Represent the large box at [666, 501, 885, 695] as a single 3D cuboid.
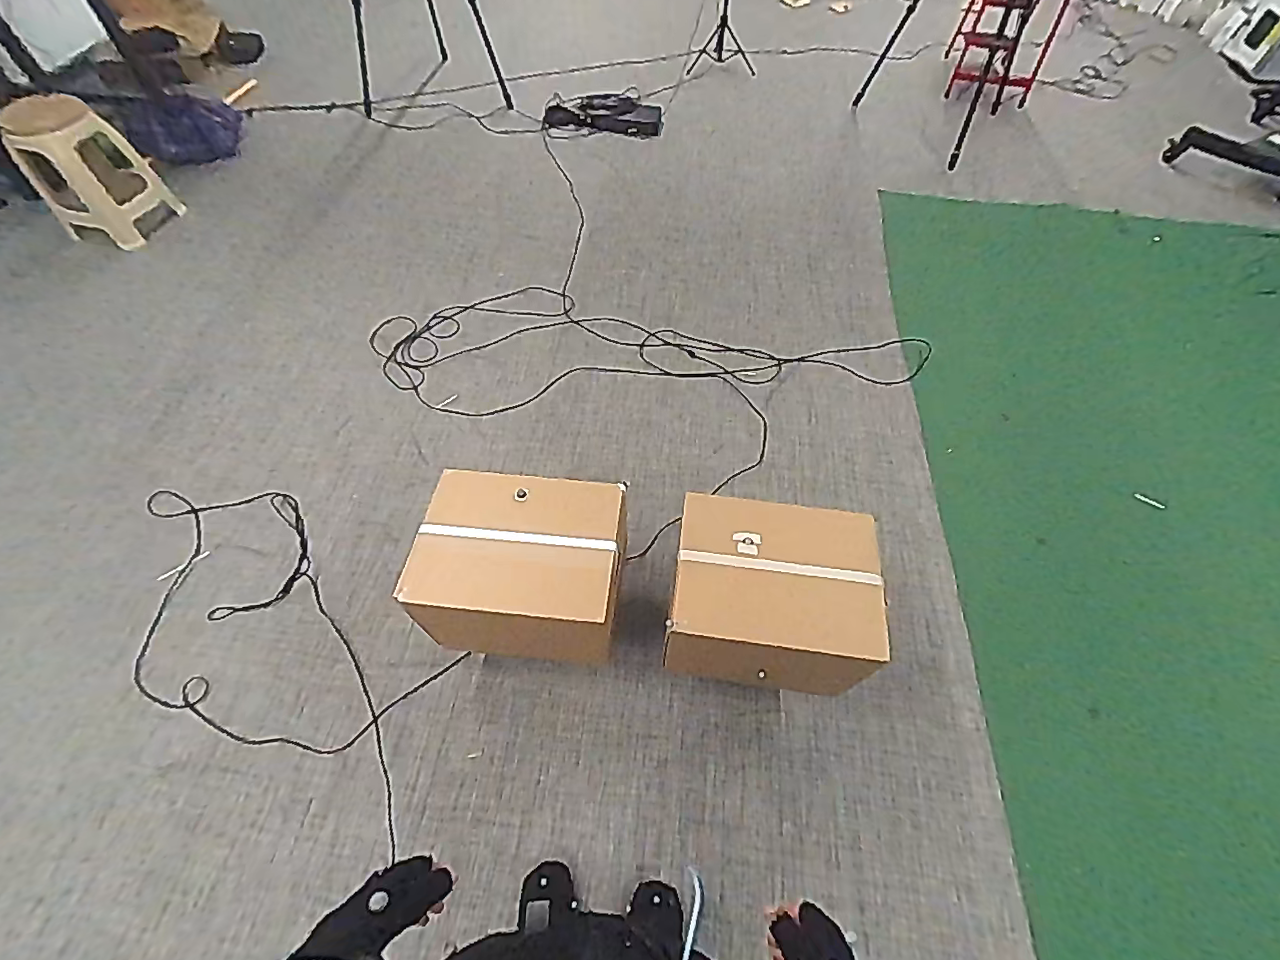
[{"bbox_3d":[0.280,0.274,1.218,0.408,0.320,0.320,7,56,4],"label":"large box"}]
